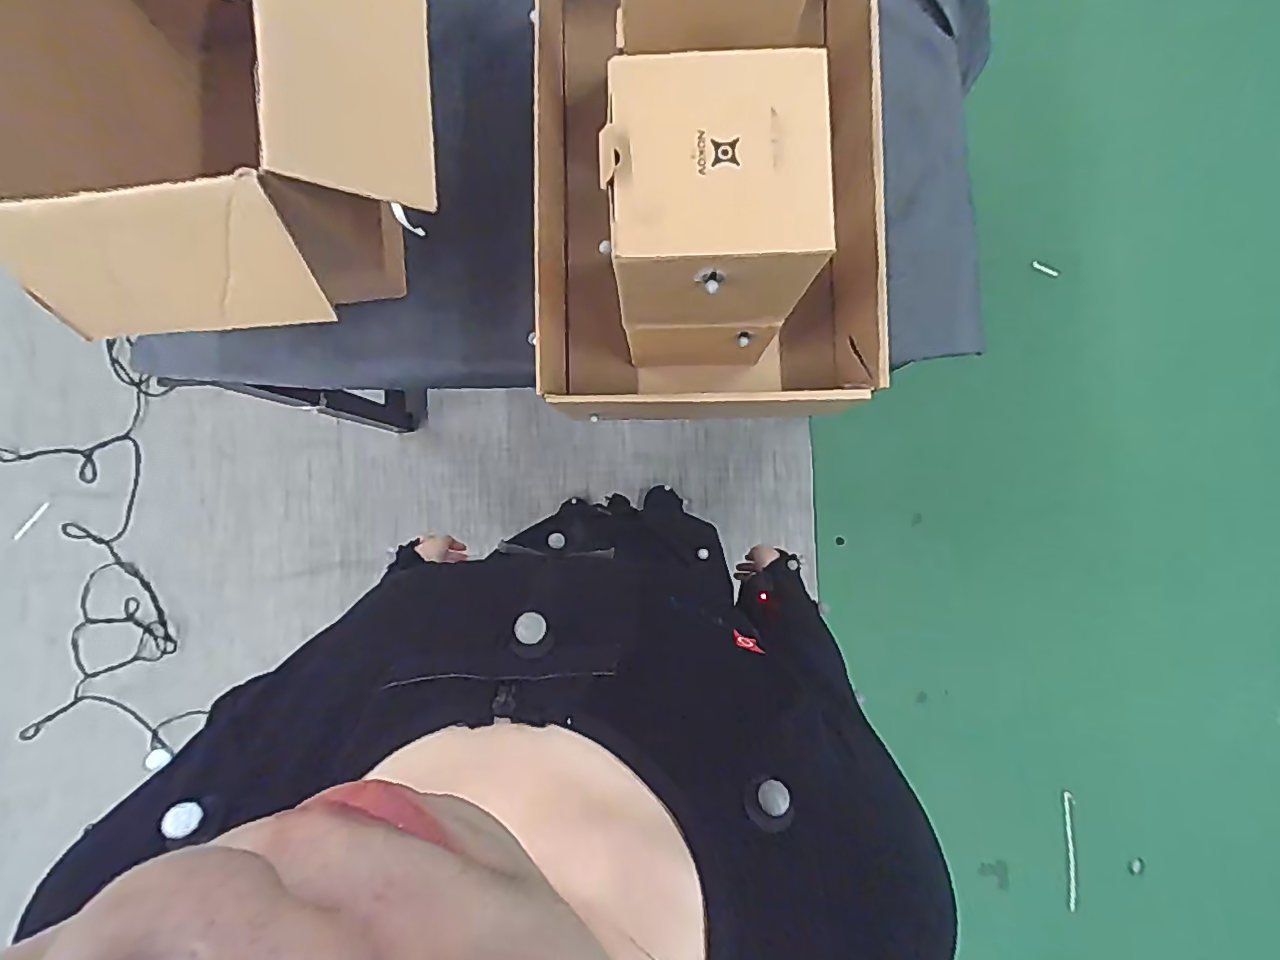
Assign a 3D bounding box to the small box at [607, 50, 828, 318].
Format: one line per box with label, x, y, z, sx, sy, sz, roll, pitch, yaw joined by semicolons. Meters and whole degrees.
small box;0.063;-0.260;0.514;0.179;0.176;0.168;-2;89;0
